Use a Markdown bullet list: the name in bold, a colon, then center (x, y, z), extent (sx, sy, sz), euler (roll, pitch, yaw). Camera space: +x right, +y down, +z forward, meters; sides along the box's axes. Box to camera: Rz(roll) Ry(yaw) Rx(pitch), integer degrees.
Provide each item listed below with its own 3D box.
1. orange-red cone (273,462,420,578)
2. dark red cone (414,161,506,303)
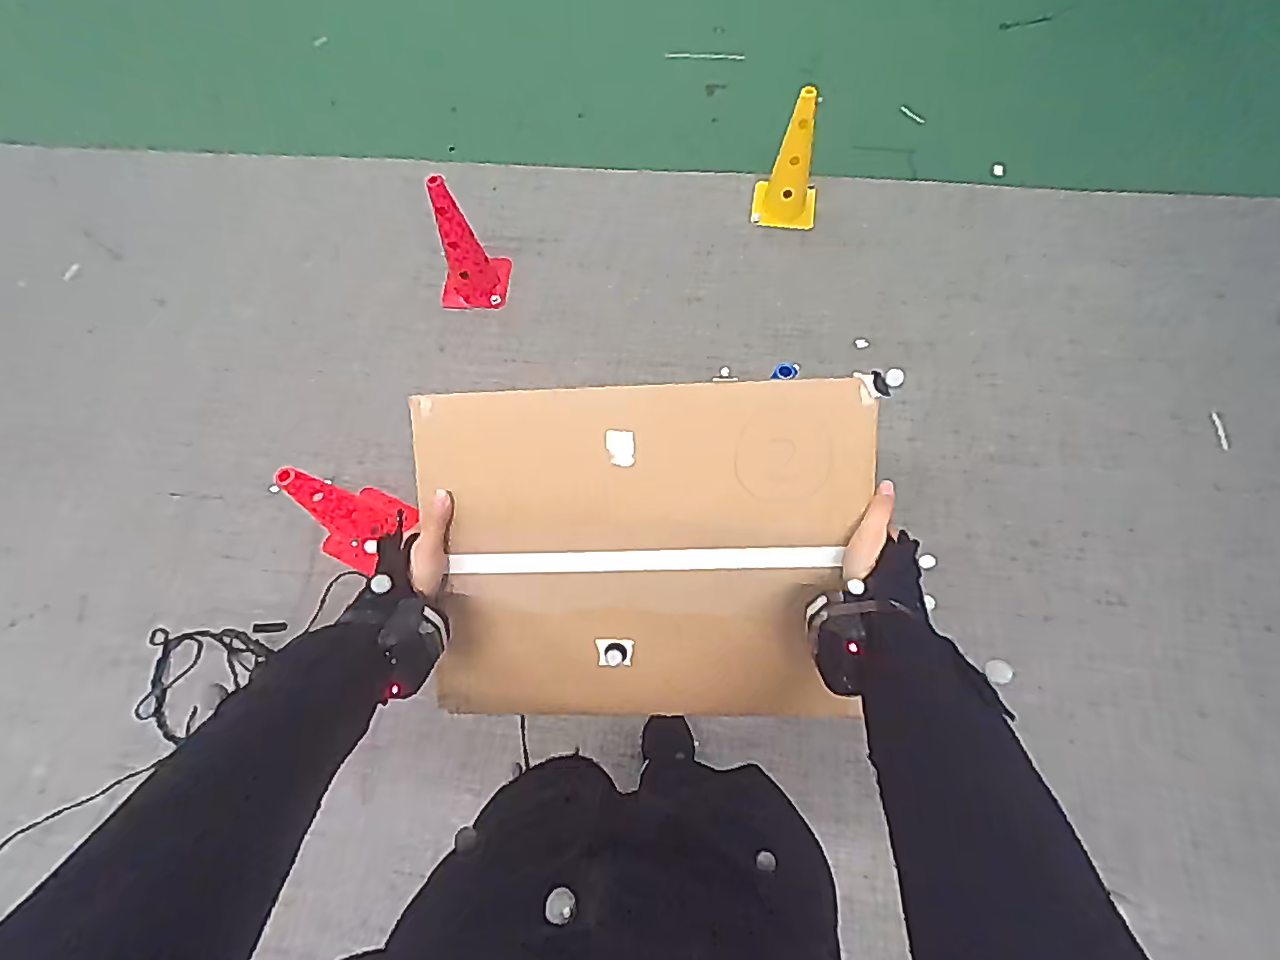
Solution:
- **orange-red cone**: center (-0.694, 0.058, 1.220), extent (0.199, 0.360, 0.198), euler (23, 68, 15)
- **dark red cone**: center (-0.533, -0.702, 1.530), extent (0.202, 0.394, 0.201), euler (-2, 63, 3)
